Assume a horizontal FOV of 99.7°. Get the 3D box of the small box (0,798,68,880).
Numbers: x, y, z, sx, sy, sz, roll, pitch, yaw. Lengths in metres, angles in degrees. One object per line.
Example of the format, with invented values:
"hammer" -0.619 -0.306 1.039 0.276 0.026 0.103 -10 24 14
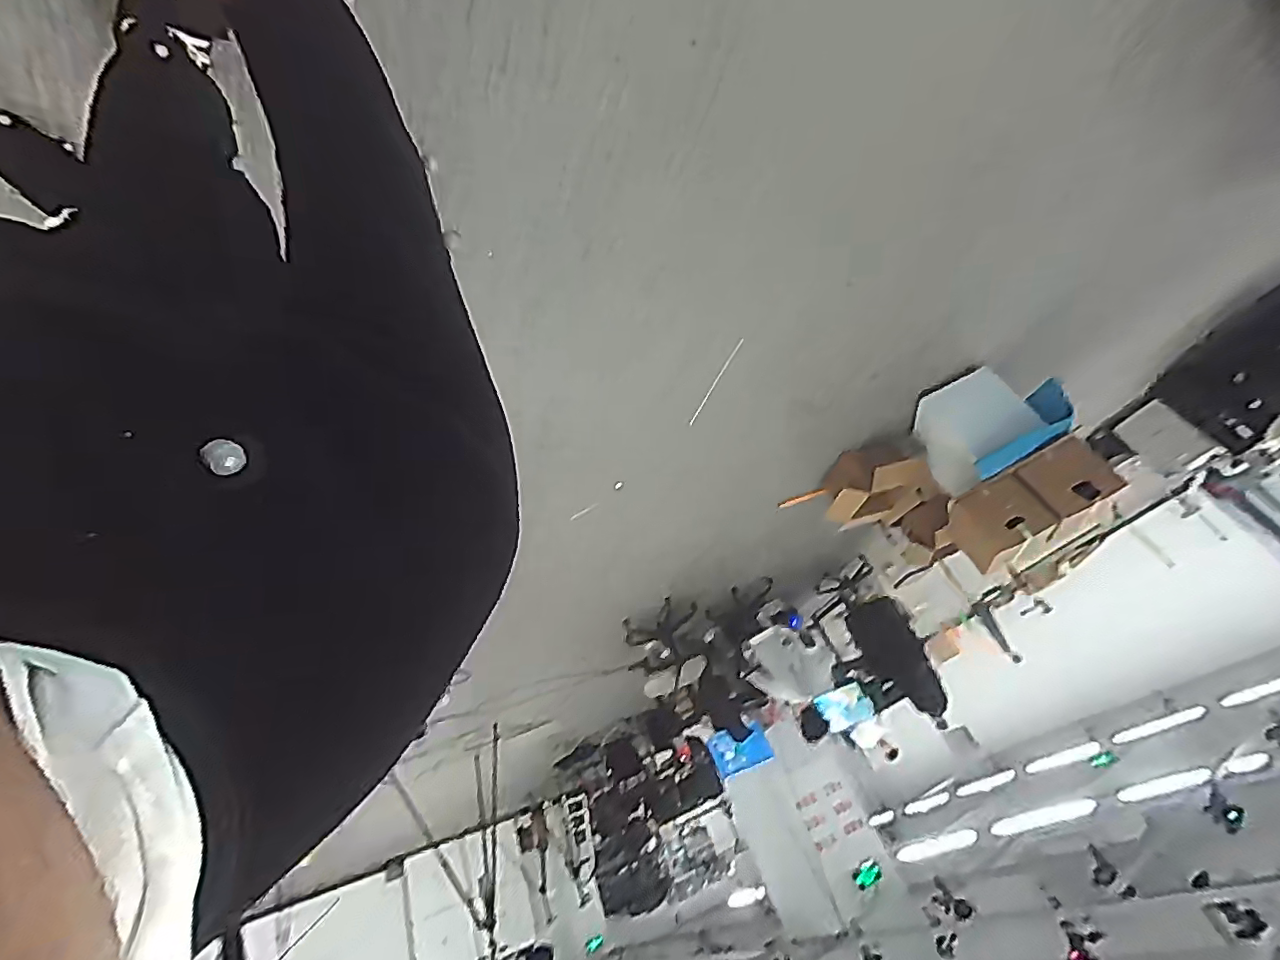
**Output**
"small box" -1.626 0.956 1.408 0.179 0.176 0.168 6 137 -40
